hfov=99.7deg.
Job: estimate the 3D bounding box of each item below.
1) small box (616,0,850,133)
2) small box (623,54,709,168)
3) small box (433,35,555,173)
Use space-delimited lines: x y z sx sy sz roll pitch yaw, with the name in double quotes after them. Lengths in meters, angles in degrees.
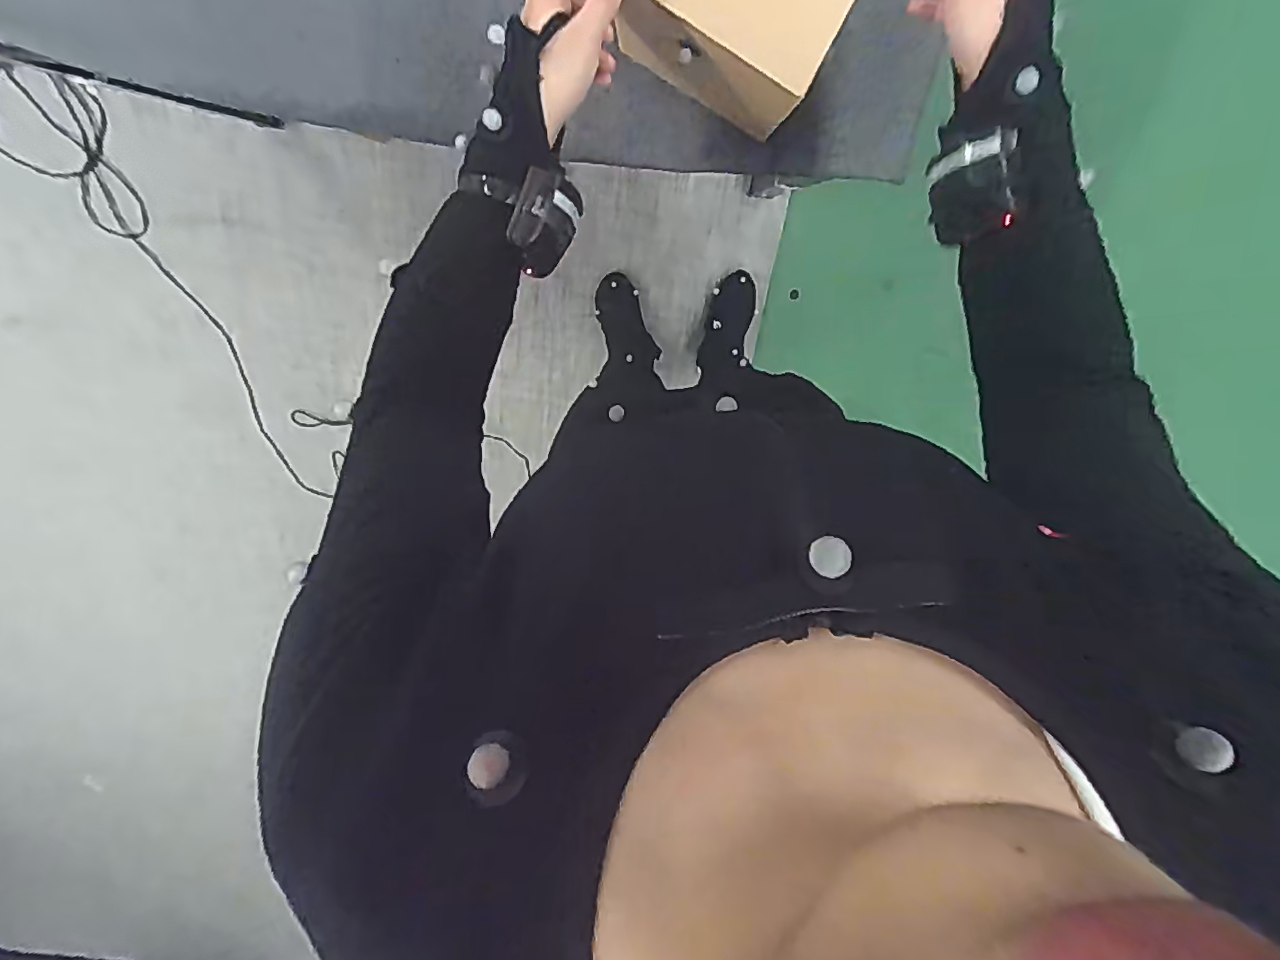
0.087 -0.429 0.455 0.179 0.176 0.168 27 111 -9 "small box"
0.055 -0.751 1.115 0.168 0.176 0.179 3 115 0 "small box"
-0.294 -0.765 1.123 0.179 0.176 0.168 26 112 -8 "small box"
